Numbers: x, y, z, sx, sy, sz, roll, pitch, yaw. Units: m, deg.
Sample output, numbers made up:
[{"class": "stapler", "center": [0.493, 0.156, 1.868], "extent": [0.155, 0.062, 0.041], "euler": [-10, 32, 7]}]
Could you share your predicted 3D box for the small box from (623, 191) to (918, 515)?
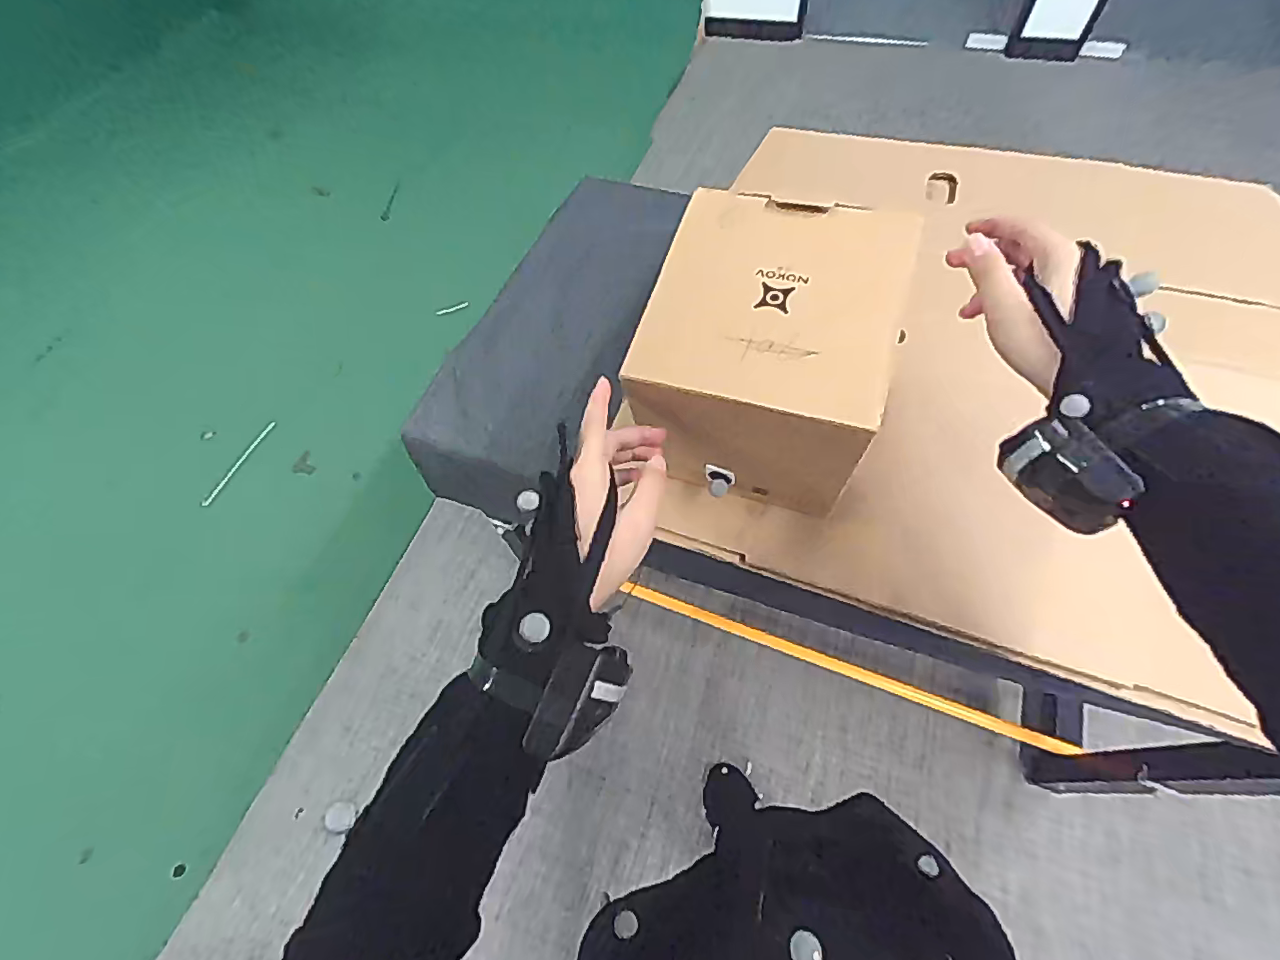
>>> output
[{"class": "small box", "center": [0.101, -0.094, 0.441], "extent": [0.168, 0.176, 0.179], "euler": [15, 71, 15]}]
